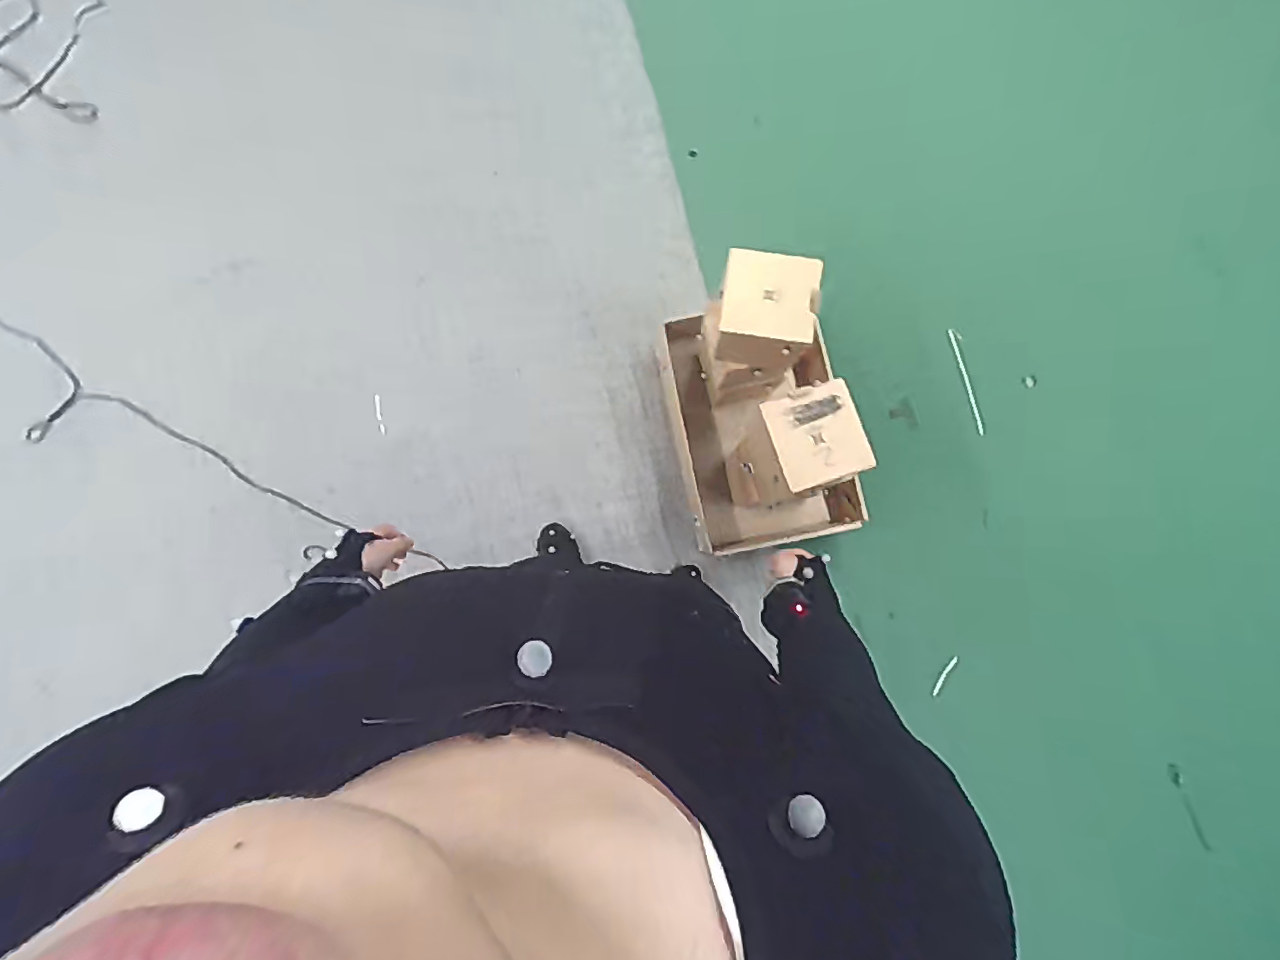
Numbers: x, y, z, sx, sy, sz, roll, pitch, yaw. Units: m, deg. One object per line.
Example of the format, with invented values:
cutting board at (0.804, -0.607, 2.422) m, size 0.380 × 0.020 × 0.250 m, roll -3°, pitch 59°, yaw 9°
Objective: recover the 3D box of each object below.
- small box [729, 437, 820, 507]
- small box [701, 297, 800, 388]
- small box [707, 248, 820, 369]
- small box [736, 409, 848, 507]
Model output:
small box at (0.336, -0.025, 1.380) m, size 0.179 × 0.176 × 0.168 m, roll -8°, pitch 83°, yaw -1°
small box at (0.243, -0.322, 1.241) m, size 0.179 × 0.176 × 0.168 m, roll -13°, pitch 86°, yaw -2°
small box at (0.237, -0.333, 1.079) m, size 0.179 × 0.176 × 0.168 m, roll 9°, pitch 85°, yaw 0°
small box at (0.333, -0.043, 1.218) m, size 0.179 × 0.176 × 0.168 m, roll -18°, pitch 82°, yaw 0°
